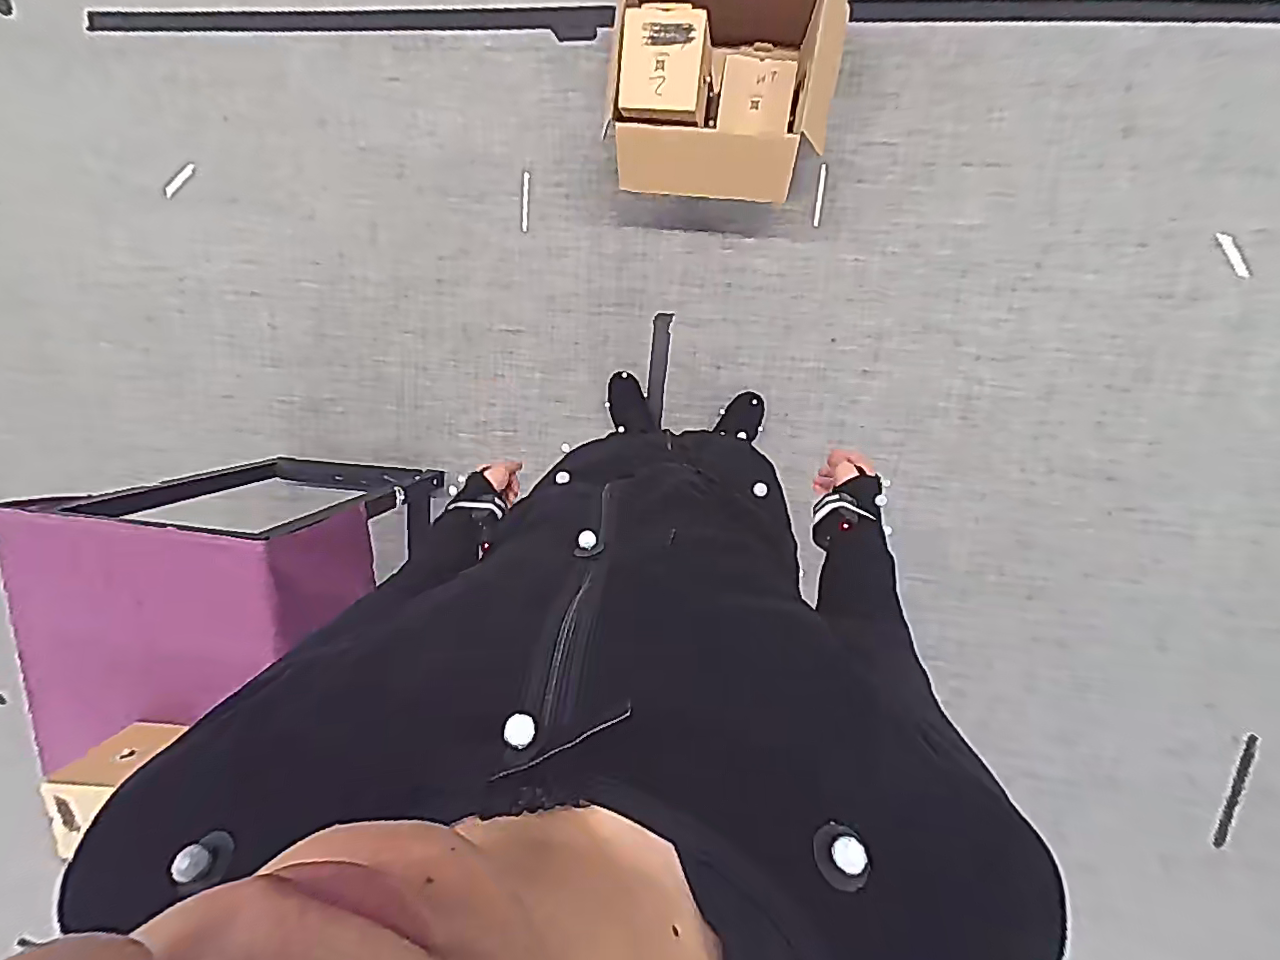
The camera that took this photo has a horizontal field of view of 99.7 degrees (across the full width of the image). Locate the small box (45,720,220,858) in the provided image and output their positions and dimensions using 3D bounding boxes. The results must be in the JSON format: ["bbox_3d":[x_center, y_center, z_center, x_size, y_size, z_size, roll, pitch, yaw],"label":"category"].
[{"bbox_3d":[-0.986,0.598,1.066,0.179,0.176,0.168,0,102,6],"label":"small box"}]
